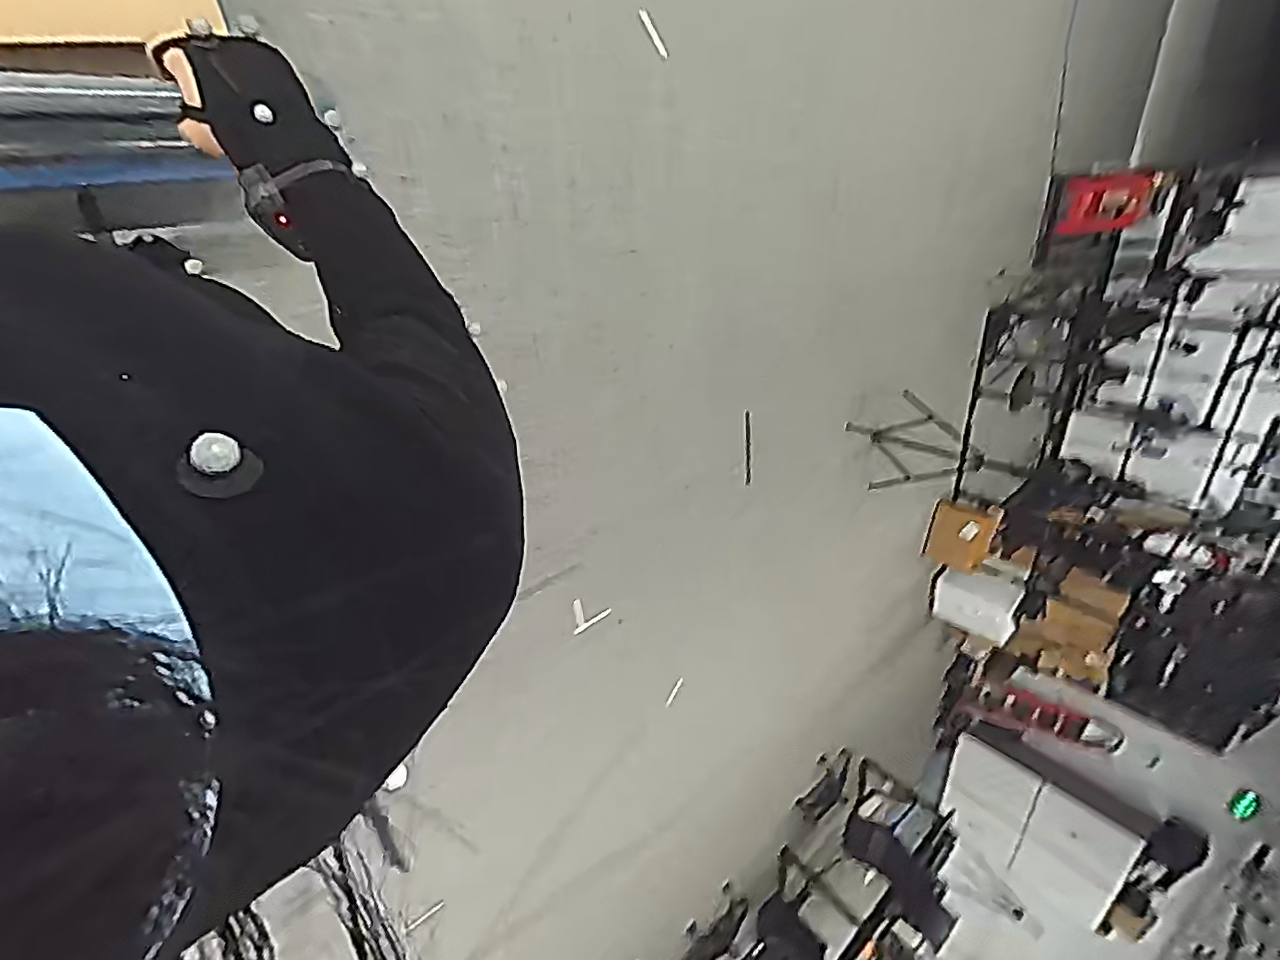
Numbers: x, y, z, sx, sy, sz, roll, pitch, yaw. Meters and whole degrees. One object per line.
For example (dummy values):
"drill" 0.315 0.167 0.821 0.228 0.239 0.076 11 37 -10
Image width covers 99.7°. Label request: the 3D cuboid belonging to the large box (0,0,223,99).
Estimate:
"large box" -0.819 -0.675 0.648 0.408 0.320 0.320 -30 126 -31
